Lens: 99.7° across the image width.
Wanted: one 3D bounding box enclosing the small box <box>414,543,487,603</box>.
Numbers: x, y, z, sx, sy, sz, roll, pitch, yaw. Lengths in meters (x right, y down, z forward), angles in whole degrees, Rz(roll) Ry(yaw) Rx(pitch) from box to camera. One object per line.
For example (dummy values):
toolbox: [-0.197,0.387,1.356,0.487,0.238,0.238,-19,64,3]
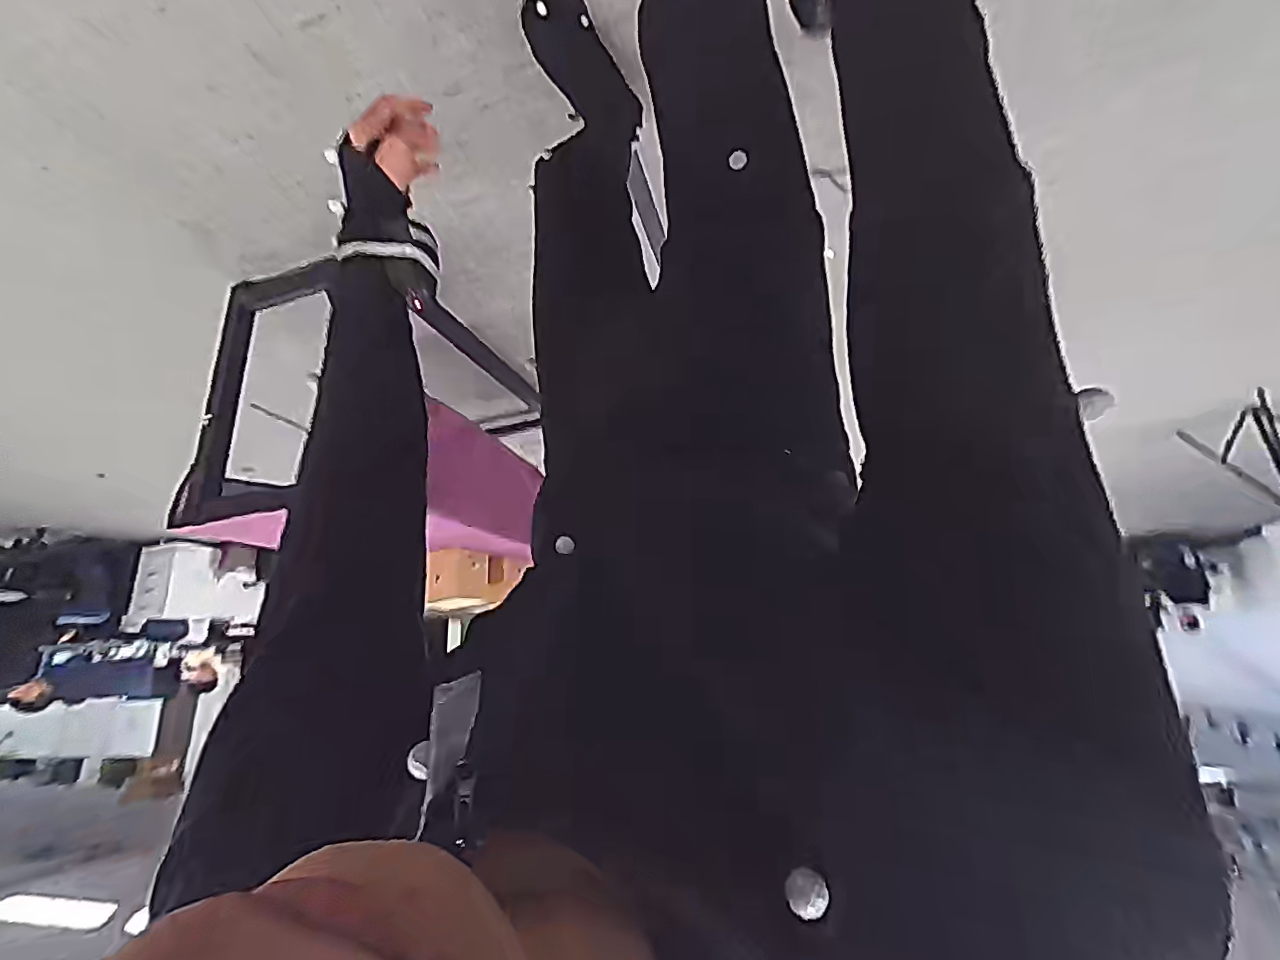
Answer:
small box: [-0.637,0.318,1.834,0.179,0.176,0.168,-11,161,18]
